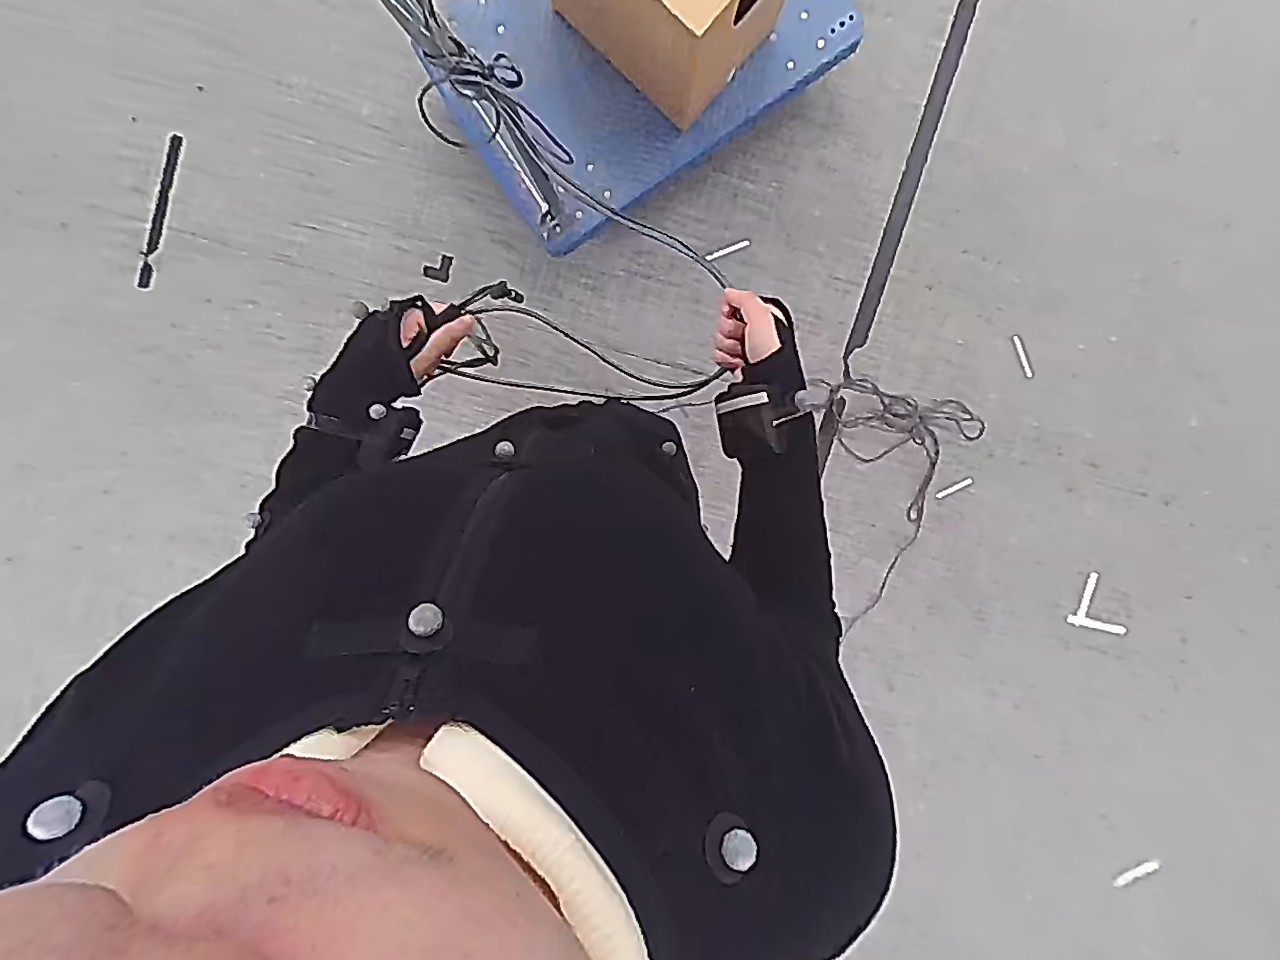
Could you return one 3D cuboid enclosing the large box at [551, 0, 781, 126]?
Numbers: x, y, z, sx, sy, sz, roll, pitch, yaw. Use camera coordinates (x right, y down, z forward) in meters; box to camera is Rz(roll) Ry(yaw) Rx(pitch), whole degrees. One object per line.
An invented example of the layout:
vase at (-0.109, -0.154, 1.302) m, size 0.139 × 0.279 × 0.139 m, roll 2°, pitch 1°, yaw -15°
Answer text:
large box at (0.053, -1.015, 1.045) m, size 0.408 × 0.320 × 0.320 m, roll 41°, pitch 95°, yaw -5°
